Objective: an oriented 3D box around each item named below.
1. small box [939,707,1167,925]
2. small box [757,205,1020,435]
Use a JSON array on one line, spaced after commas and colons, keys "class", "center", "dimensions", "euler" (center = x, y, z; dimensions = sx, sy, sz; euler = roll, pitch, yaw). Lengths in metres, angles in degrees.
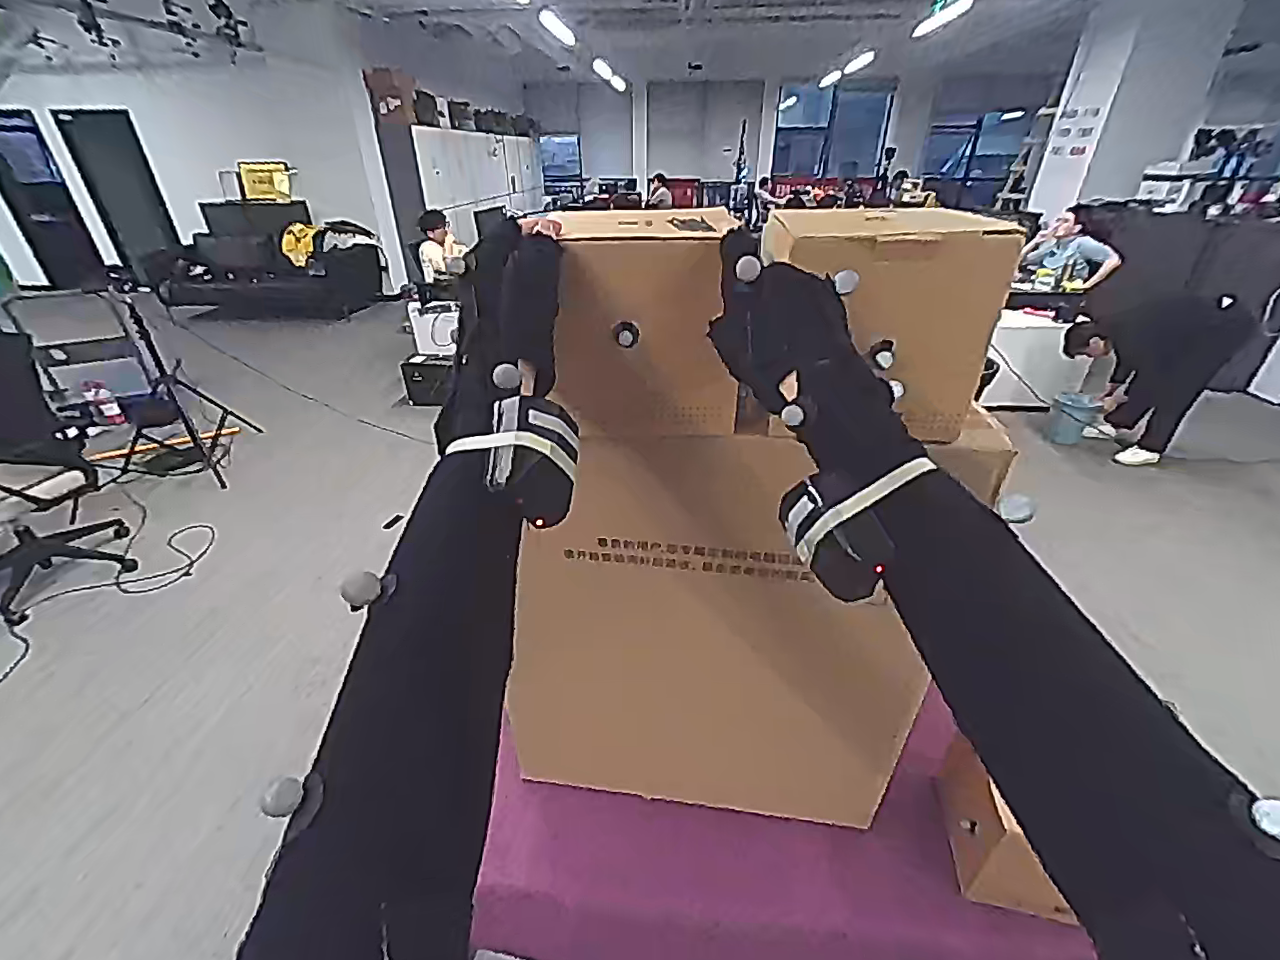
[{"class": "small box", "center": [0.524, 0.443, 0.721], "dimensions": [0.168, 0.176, 0.179], "euler": [7, 30, 11]}, {"class": "small box", "center": [0.204, -0.152, 0.505], "dimensions": [0.168, 0.176, 0.179], "euler": [3, 32, 6]}]
